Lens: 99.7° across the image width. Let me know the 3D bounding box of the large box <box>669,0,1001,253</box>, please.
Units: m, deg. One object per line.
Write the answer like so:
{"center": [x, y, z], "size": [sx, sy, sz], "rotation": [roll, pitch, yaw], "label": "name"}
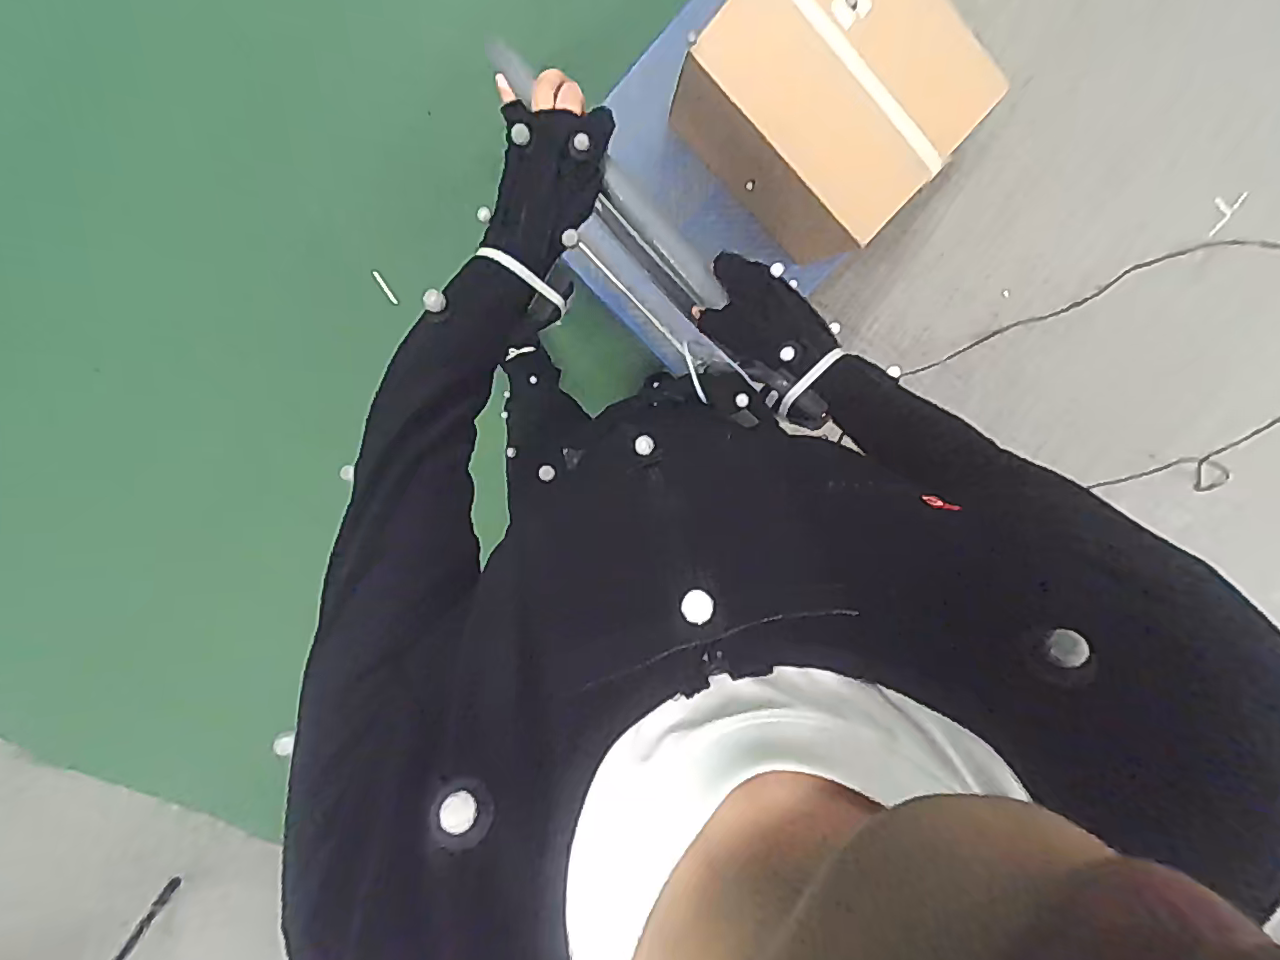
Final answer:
{"center": [0.307, -0.677, 0.961], "size": [0.408, 0.320, 0.320], "rotation": [40, 100, -13], "label": "large box"}
